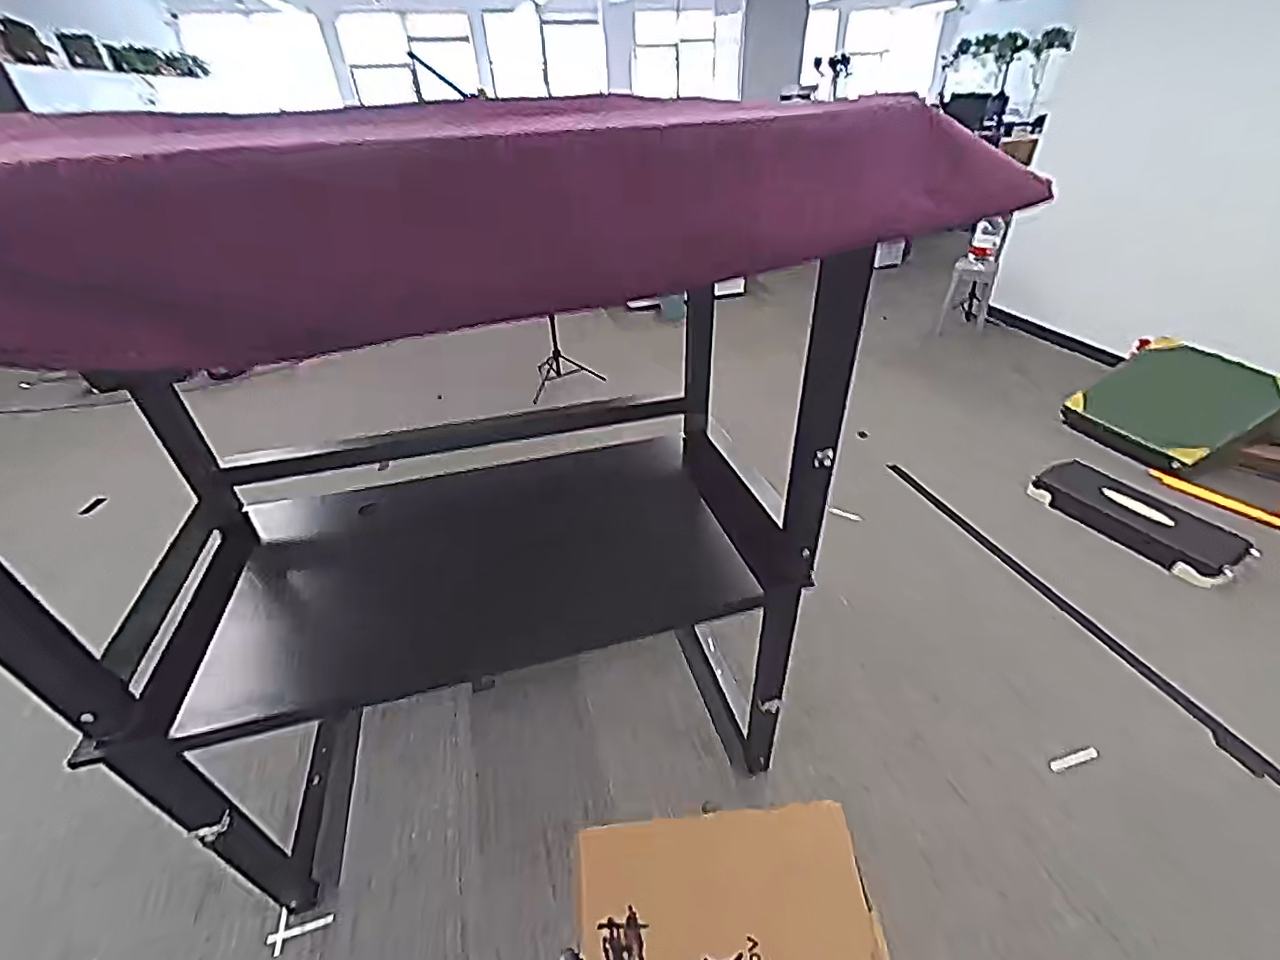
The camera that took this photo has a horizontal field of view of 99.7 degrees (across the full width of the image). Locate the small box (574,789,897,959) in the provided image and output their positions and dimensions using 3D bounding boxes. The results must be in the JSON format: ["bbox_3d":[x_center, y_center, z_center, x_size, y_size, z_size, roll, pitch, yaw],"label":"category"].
[{"bbox_3d":[0.050,0.316,0.361,0.179,0.176,0.168,0,52,-10],"label":"small box"}]
